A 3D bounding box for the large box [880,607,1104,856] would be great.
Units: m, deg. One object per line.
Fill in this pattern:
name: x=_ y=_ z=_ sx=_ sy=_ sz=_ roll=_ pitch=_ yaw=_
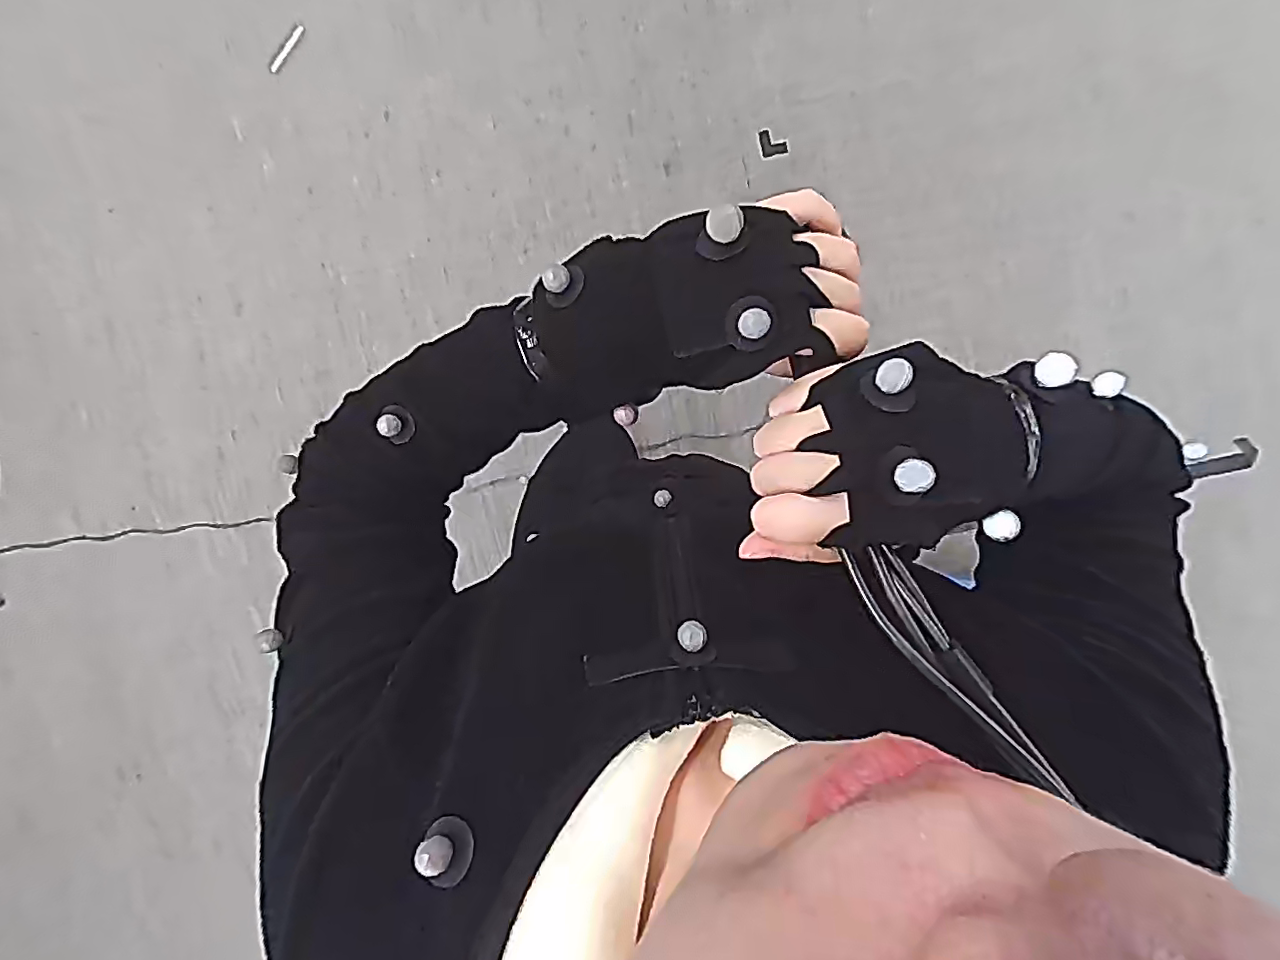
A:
large box: x=0.781 y=0.546 z=1.241 sx=0.320 sy=0.320 sz=0.408 roll=-5 pitch=95 yaw=-1
